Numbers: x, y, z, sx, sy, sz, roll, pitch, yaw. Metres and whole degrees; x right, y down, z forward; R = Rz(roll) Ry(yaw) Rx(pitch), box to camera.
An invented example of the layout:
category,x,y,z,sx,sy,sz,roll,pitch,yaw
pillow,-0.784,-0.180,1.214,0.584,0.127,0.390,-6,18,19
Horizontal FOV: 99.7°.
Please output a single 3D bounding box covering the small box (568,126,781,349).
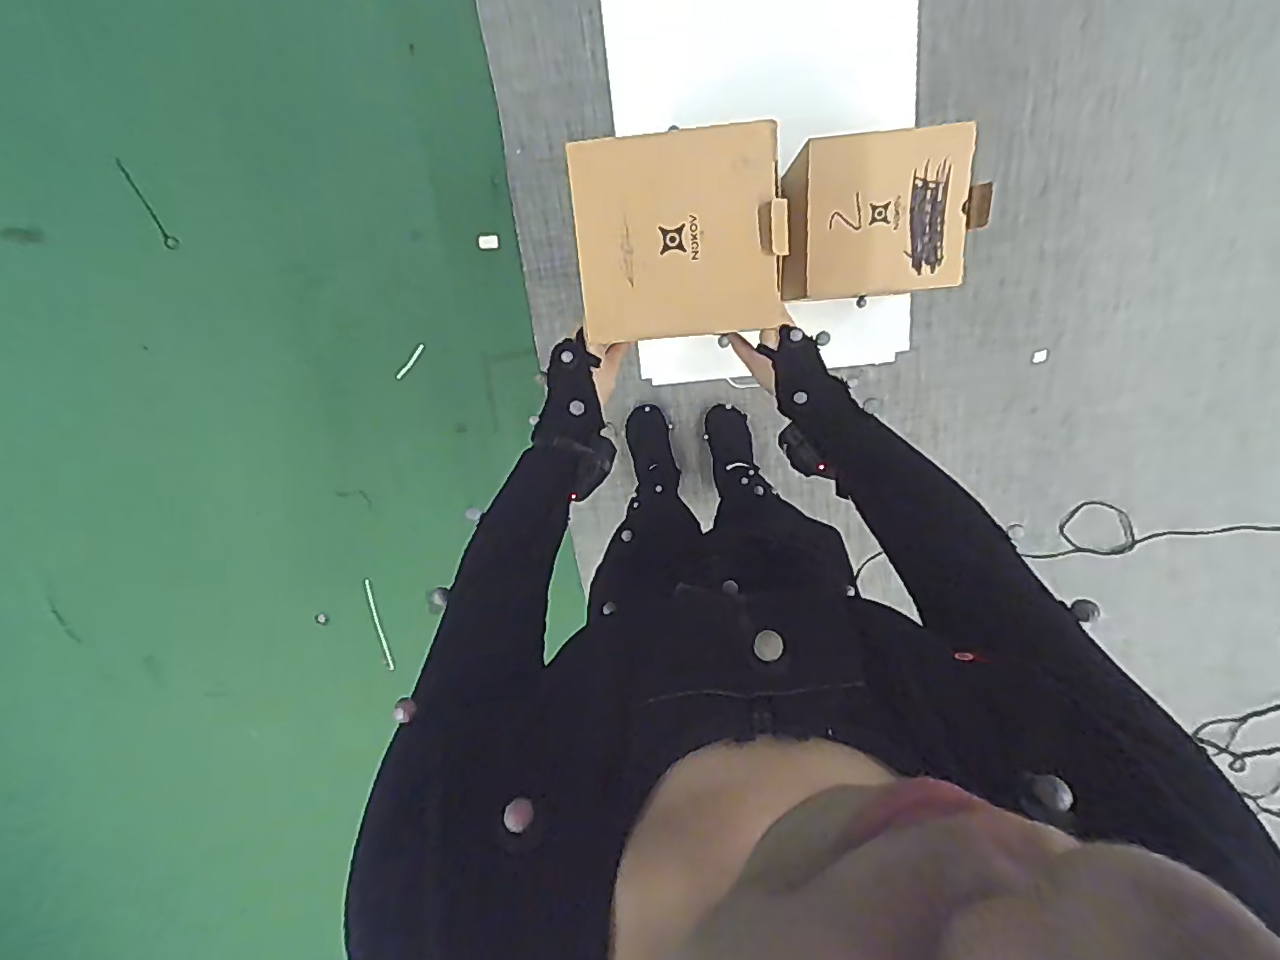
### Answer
category,x,y,z,sx,sy,sz,roll,pitch,yaw
small box,0.035,-0.225,0.541,0.179,0.176,0.168,-5,105,4
